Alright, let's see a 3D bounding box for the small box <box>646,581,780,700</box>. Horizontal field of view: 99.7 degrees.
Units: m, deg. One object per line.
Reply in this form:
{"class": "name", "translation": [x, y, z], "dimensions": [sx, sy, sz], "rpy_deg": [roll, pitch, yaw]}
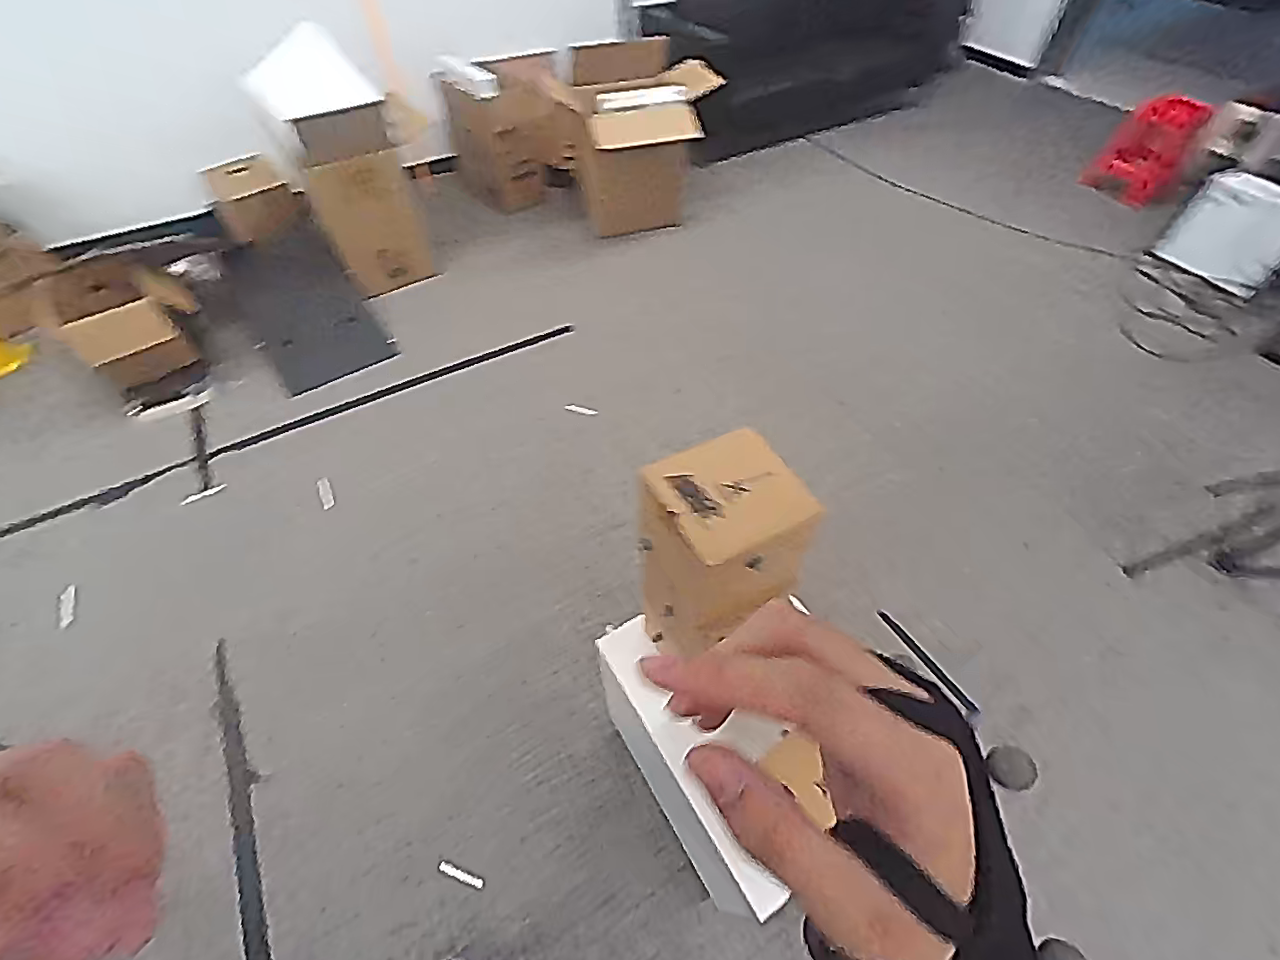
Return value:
{"class": "small box", "translation": [0.125, 0.274, 0.993], "dimensions": [0.179, 0.176, 0.168], "rpy_deg": [-24, 57, -19]}

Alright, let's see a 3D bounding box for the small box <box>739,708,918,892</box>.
{"class": "small box", "translation": [0.272, 0.488, 0.826], "dimensions": [0.179, 0.176, 0.168], "rpy_deg": [-27, 56, -20]}

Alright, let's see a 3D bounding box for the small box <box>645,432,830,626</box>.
{"class": "small box", "translation": [0.119, 0.070, 0.735], "dimensions": [0.179, 0.176, 0.168], "rpy_deg": [-21, 55, -17]}
